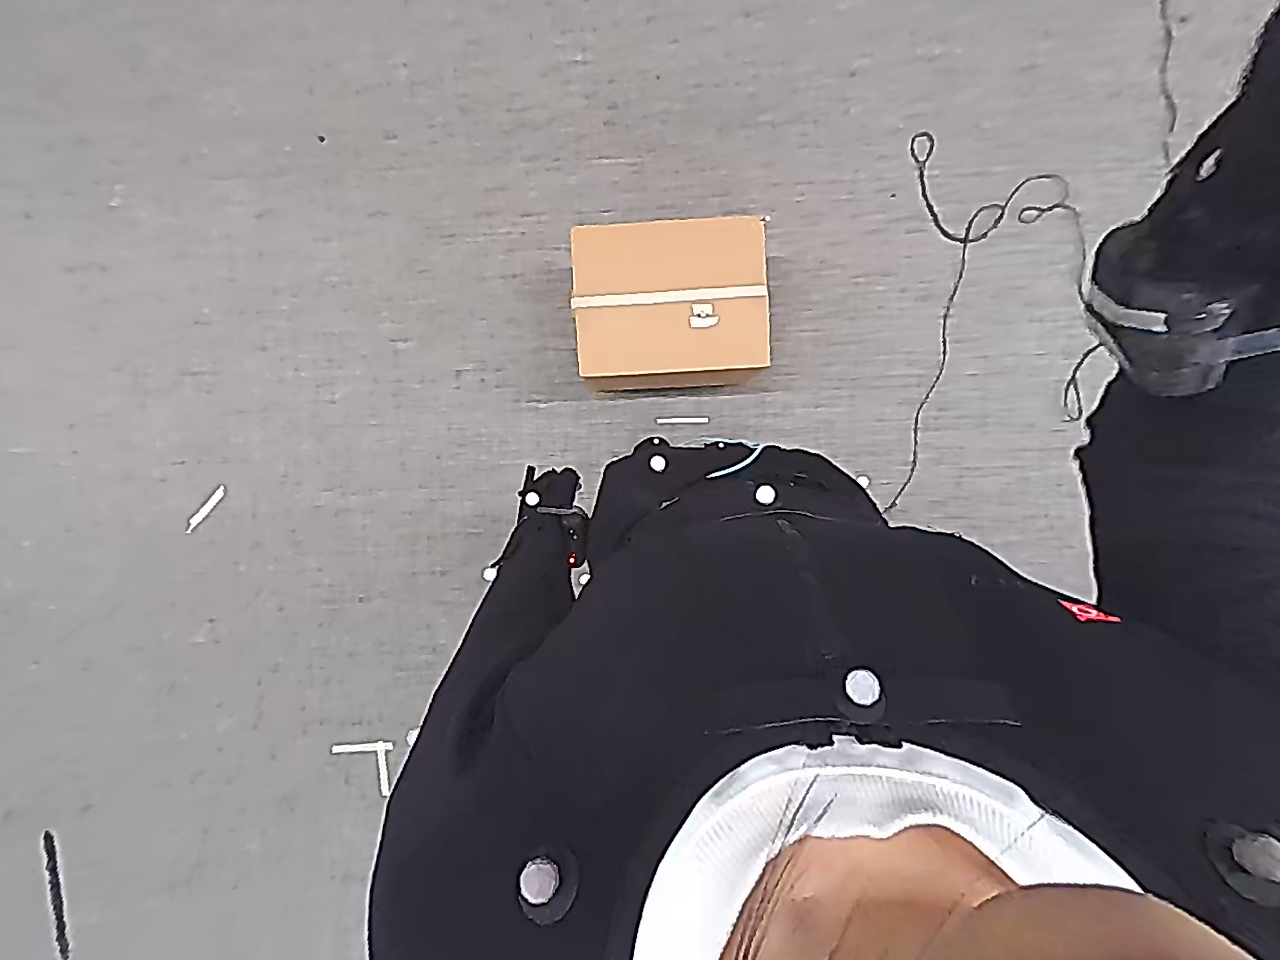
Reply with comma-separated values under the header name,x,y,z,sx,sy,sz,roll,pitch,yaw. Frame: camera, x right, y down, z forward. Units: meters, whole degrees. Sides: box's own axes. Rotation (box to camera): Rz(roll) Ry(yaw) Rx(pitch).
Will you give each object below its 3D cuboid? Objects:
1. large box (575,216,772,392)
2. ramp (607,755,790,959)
name,x,y,z,sx,sy,sz,roll,pitch,yaw
large box,0.072,-0.392,1.283,0.408,0.320,0.320,-3,94,1
ramp,0.153,1.264,1.443,0.509,0.206,0.991,-1,93,3
